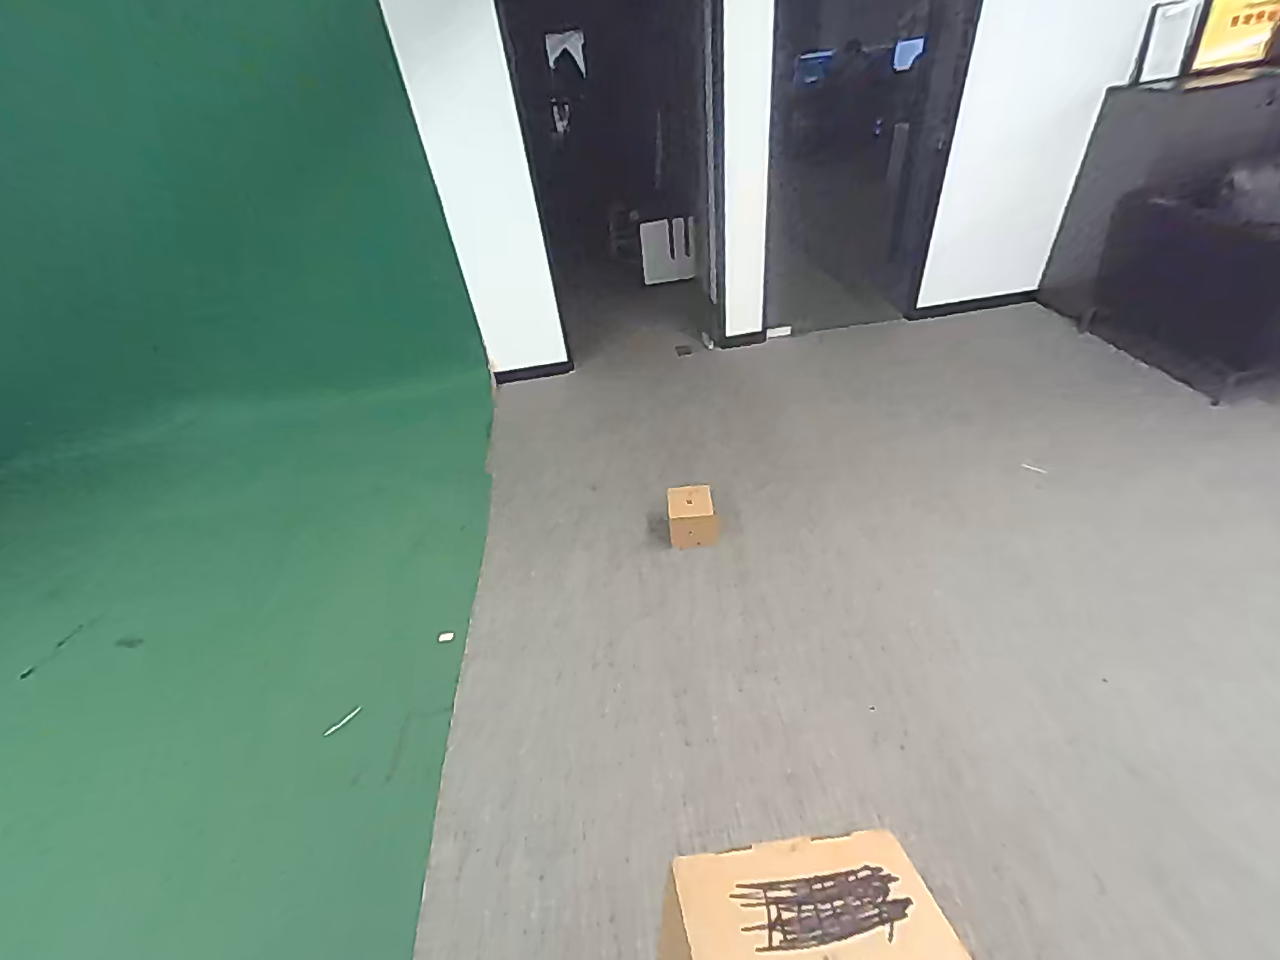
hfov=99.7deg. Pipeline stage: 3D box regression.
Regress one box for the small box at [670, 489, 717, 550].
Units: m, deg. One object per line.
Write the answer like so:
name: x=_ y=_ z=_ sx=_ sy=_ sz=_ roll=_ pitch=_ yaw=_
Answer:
small box: x=0.206 y=0.159 z=2.088 sx=0.168 sy=0.176 sz=0.179 roll=-4 pitch=39 yaw=4
